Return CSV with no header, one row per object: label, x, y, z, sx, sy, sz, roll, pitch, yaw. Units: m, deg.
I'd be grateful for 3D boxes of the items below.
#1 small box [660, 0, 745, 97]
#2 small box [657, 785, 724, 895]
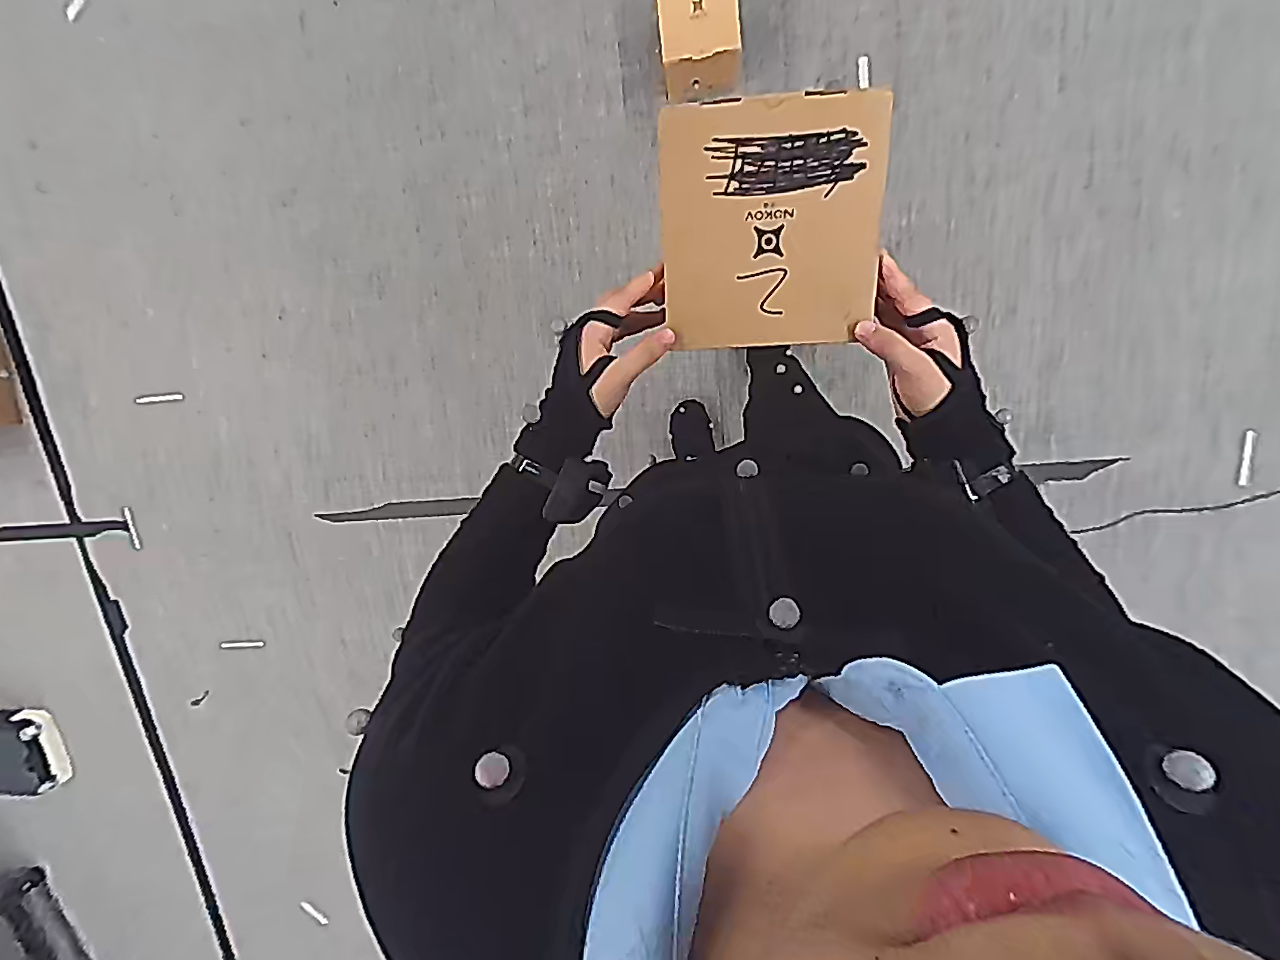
small box,0.133,-0.987,1.184,0.168,0.176,0.179,-7,102,7
small box,0.133,0.941,1.421,0.168,0.176,0.179,-2,102,5
